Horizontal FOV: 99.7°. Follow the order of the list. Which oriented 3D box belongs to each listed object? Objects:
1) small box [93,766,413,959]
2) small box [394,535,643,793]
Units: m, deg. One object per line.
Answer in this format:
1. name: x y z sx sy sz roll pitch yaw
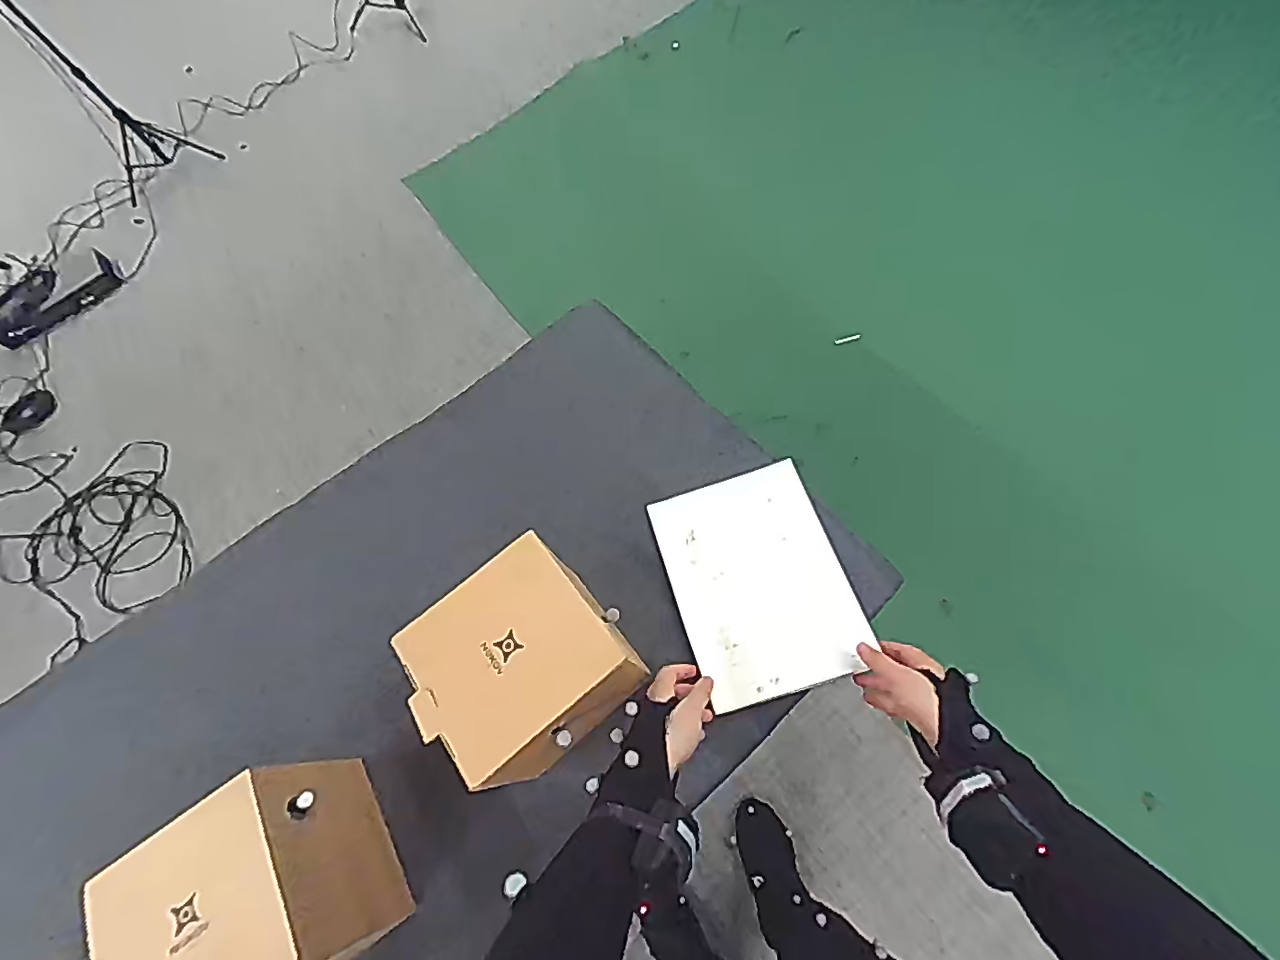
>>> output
1. small box: -0.360 0.406 0.526 0.168 0.176 0.179 -36 65 -6
2. small box: -0.112 0.192 0.577 0.179 0.176 0.168 -40 65 -7
